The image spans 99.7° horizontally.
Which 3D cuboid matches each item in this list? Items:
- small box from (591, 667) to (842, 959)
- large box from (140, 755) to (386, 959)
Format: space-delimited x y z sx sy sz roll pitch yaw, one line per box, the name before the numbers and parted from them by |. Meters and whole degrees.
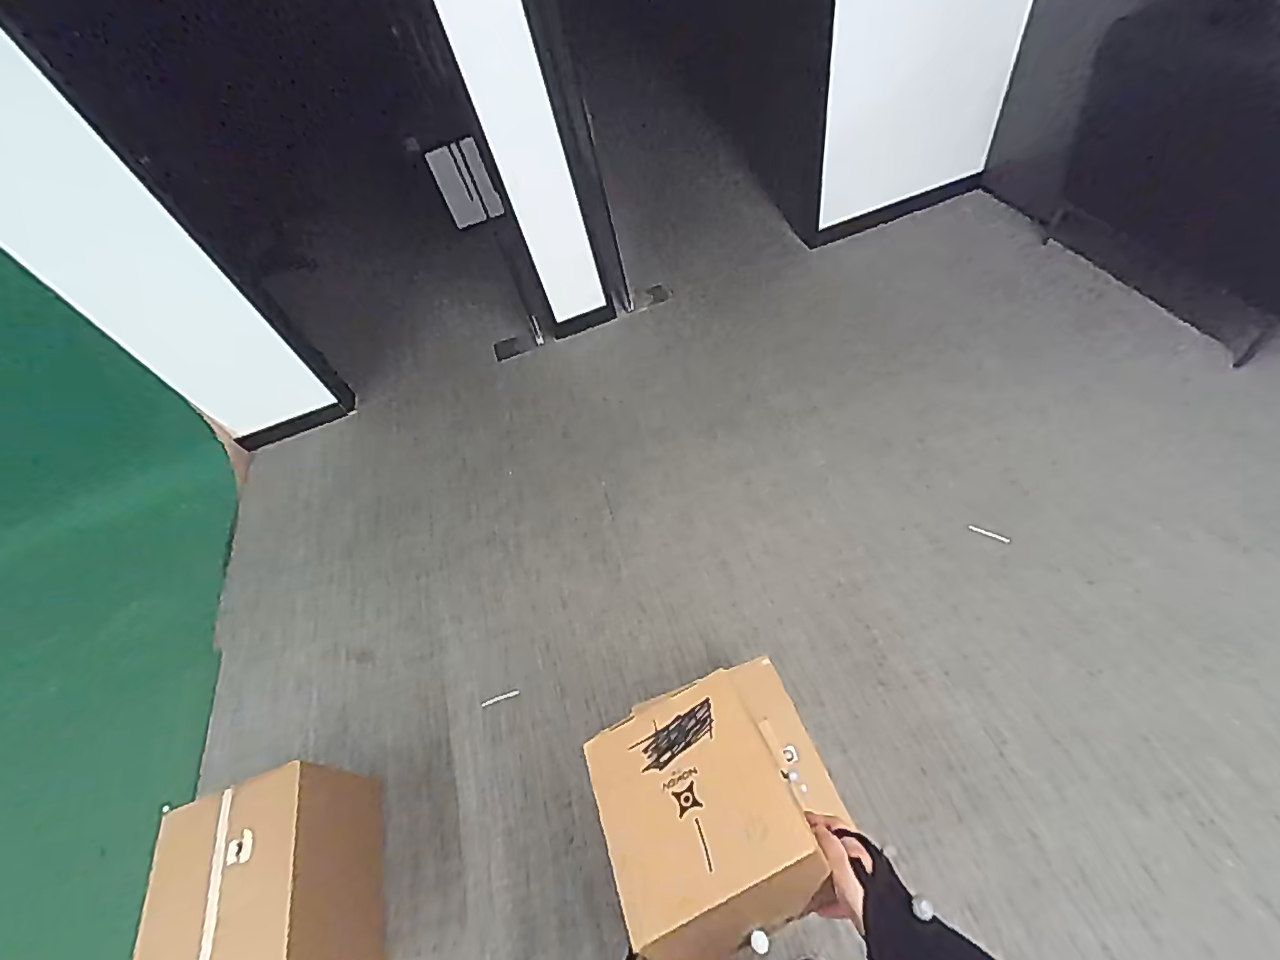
small box | 0.074 0.330 0.538 0.168 0.176 0.179 -29 39 0
large box | -0.782 0.884 1.169 0.320 0.320 0.408 -21 52 -2
